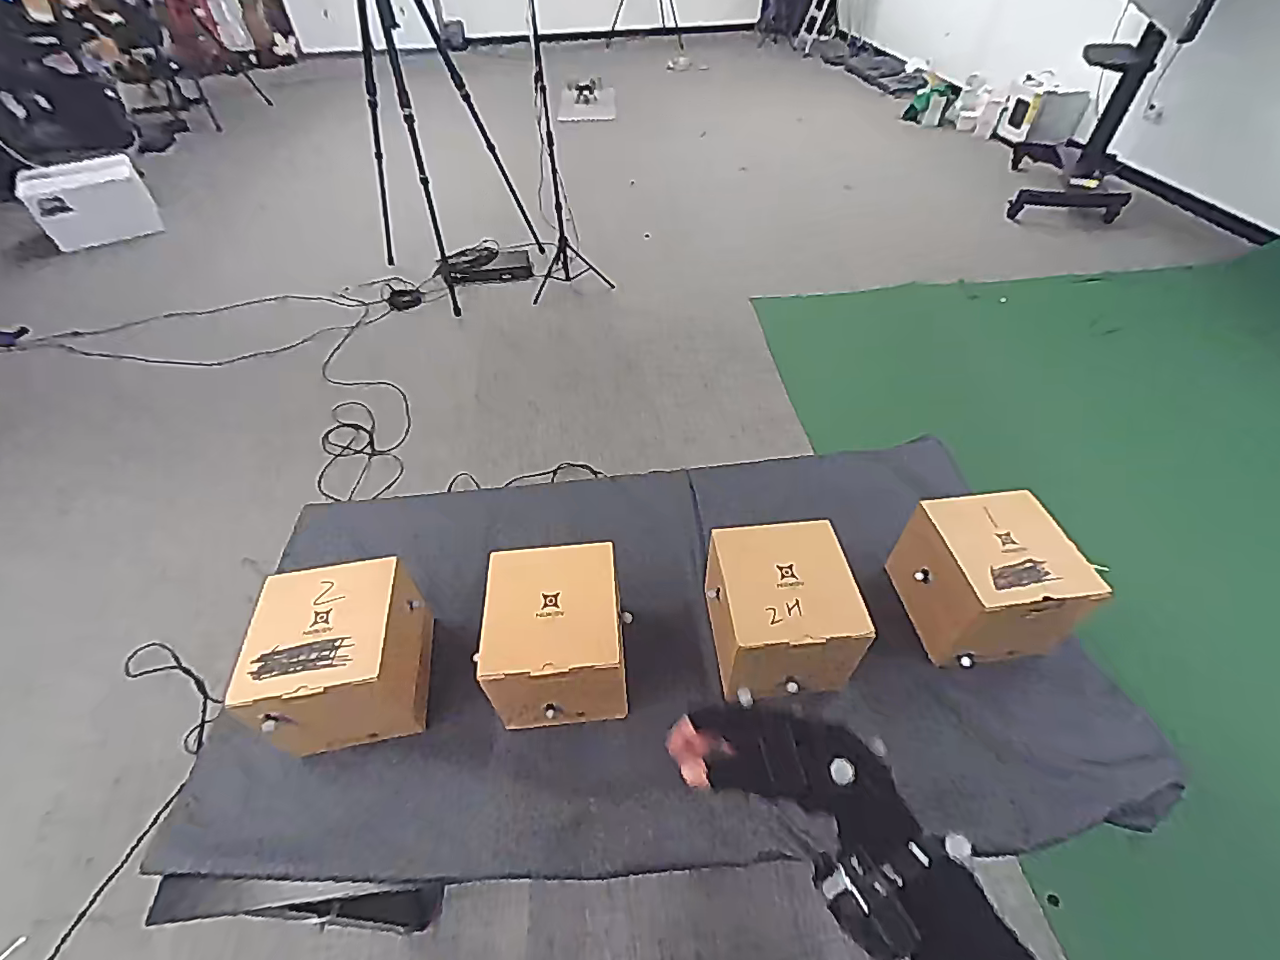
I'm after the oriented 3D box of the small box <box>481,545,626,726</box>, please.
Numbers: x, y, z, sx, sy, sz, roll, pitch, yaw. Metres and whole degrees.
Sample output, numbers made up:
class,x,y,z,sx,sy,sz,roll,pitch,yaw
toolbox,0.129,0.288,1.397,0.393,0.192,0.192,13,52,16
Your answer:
class,x,y,z,sx,sy,sz,roll,pitch,yaw
small box,-0.107,0.209,0.729,0.168,0.176,0.179,-4,48,-4

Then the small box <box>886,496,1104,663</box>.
class,x,y,z,sx,sy,sz,roll,pitch,yaw
small box,0.486,0.147,0.775,0.168,0.176,0.179,-5,47,-4

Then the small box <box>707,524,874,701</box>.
class,x,y,z,sx,sy,sz,roll,pitch,yaw
small box,0.190,0.183,0.747,0.168,0.176,0.179,-4,48,-2
